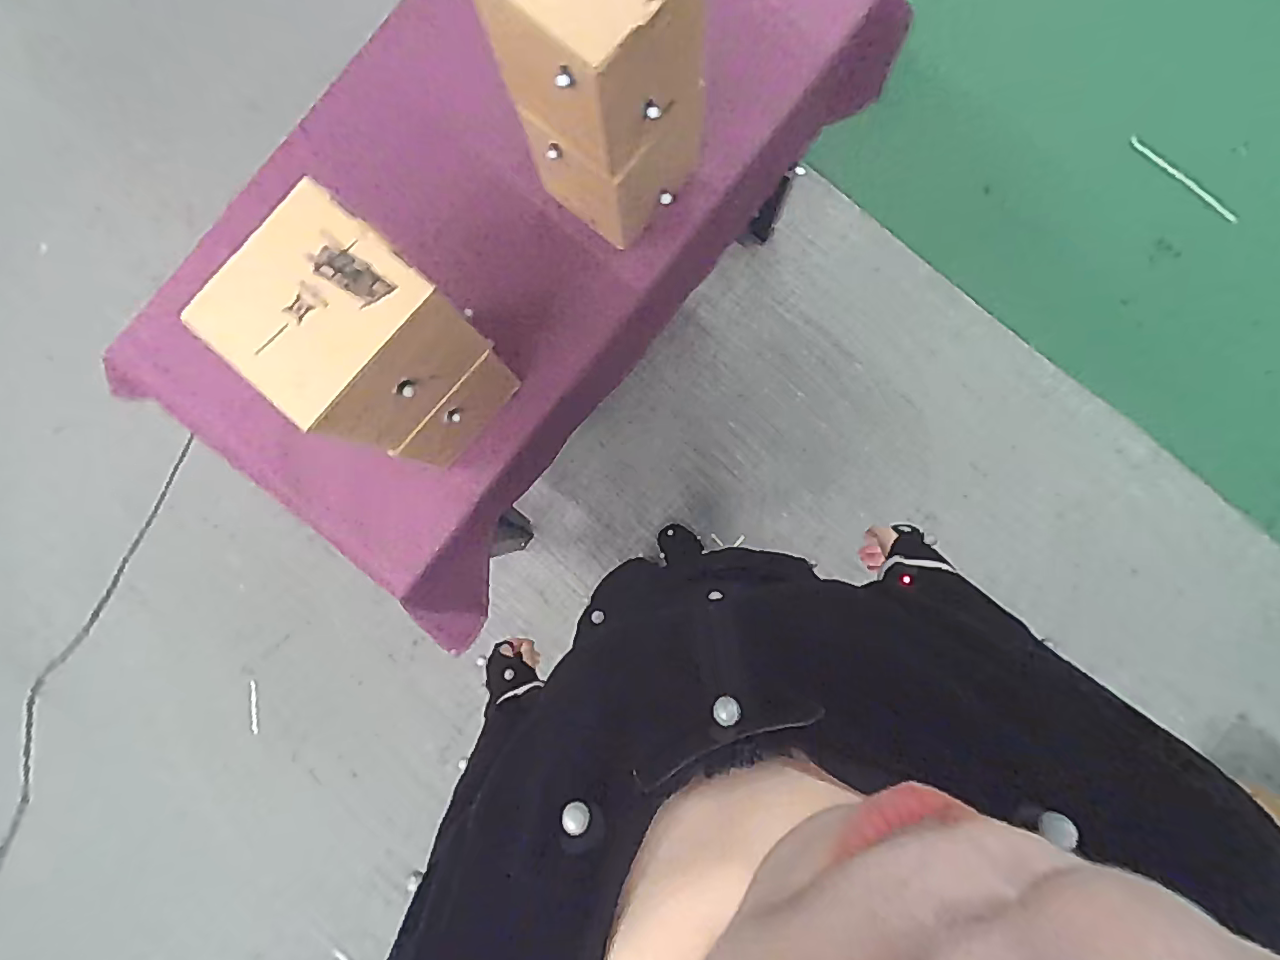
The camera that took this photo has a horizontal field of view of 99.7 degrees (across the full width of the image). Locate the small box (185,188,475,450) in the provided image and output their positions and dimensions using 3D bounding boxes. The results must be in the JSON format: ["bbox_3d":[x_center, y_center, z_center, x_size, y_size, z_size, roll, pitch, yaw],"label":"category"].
[{"bbox_3d":[-0.301,-0.152,0.574,0.168,0.176,0.179,40,89,4],"label":"small box"}]

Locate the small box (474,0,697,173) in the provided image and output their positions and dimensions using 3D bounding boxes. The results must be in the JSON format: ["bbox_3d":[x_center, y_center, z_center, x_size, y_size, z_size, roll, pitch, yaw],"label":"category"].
[{"bbox_3d":[-0.057,-0.485,0.589,0.179,0.176,0.168,40,89,3],"label":"small box"}]

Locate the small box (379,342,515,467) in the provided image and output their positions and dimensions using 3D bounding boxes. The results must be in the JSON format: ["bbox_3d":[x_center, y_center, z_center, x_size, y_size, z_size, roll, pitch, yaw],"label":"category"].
[{"bbox_3d":[-0.297,-0.134,0.736,0.168,0.176,0.179,41,87,4],"label":"small box"}]

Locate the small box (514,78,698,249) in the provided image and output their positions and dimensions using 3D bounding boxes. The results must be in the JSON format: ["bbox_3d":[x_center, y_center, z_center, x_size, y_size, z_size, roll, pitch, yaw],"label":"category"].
[{"bbox_3d":[-0.042,-0.468,0.751,0.168,0.176,0.179,40,87,5],"label":"small box"}]
